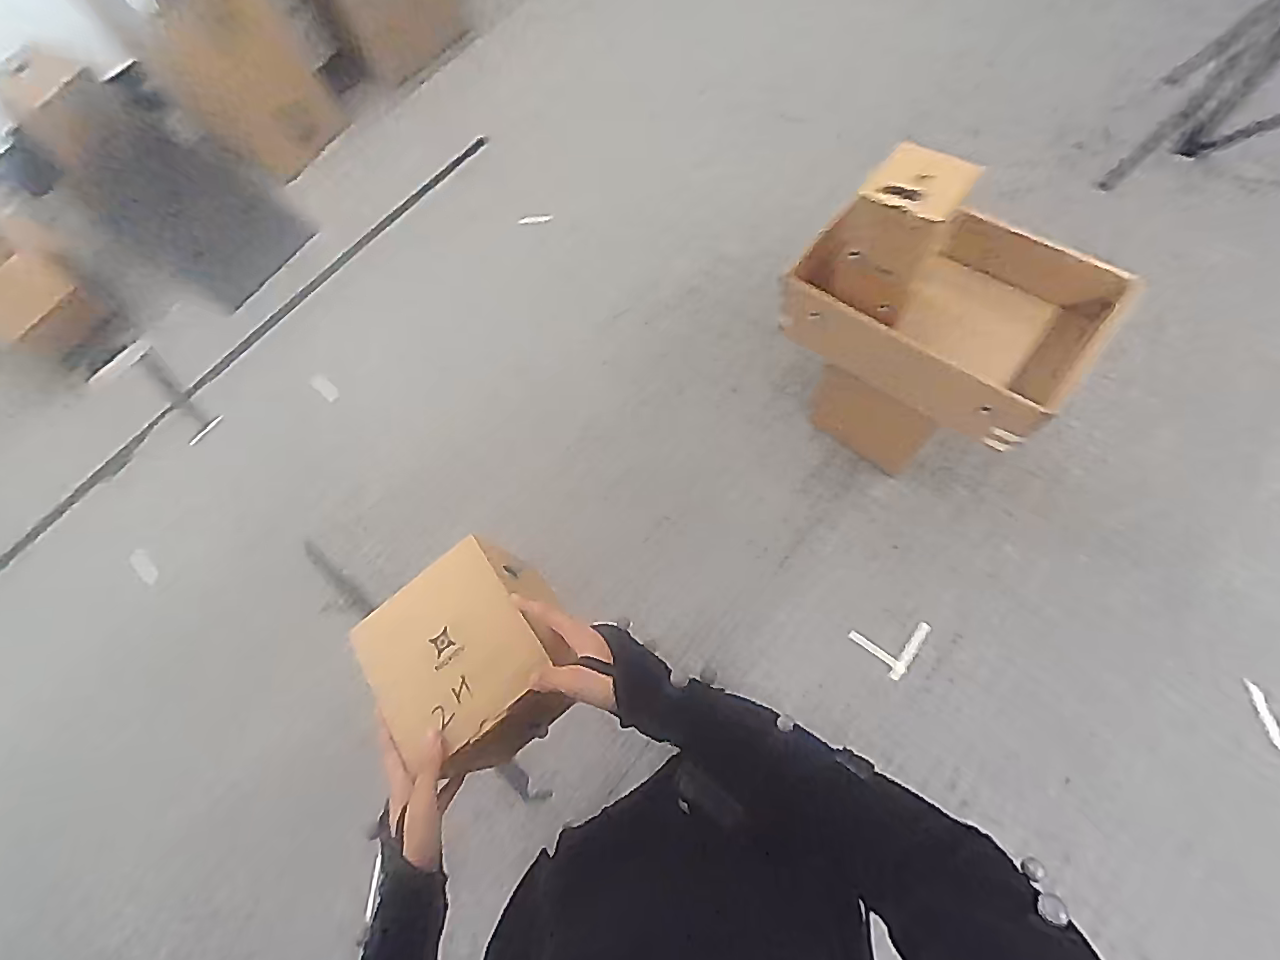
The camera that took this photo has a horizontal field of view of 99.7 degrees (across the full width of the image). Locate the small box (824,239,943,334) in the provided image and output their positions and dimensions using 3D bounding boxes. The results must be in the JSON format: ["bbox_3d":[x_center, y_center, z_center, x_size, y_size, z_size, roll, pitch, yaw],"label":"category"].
[{"bbox_3d":[0.553,-0.468,1.250,0.179,0.176,0.168,31,75,19],"label":"small box"}]

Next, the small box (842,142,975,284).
[{"bbox_3d":[0.533,-0.537,1.102,0.168,0.176,0.179,33,74,19],"label":"small box"}]
